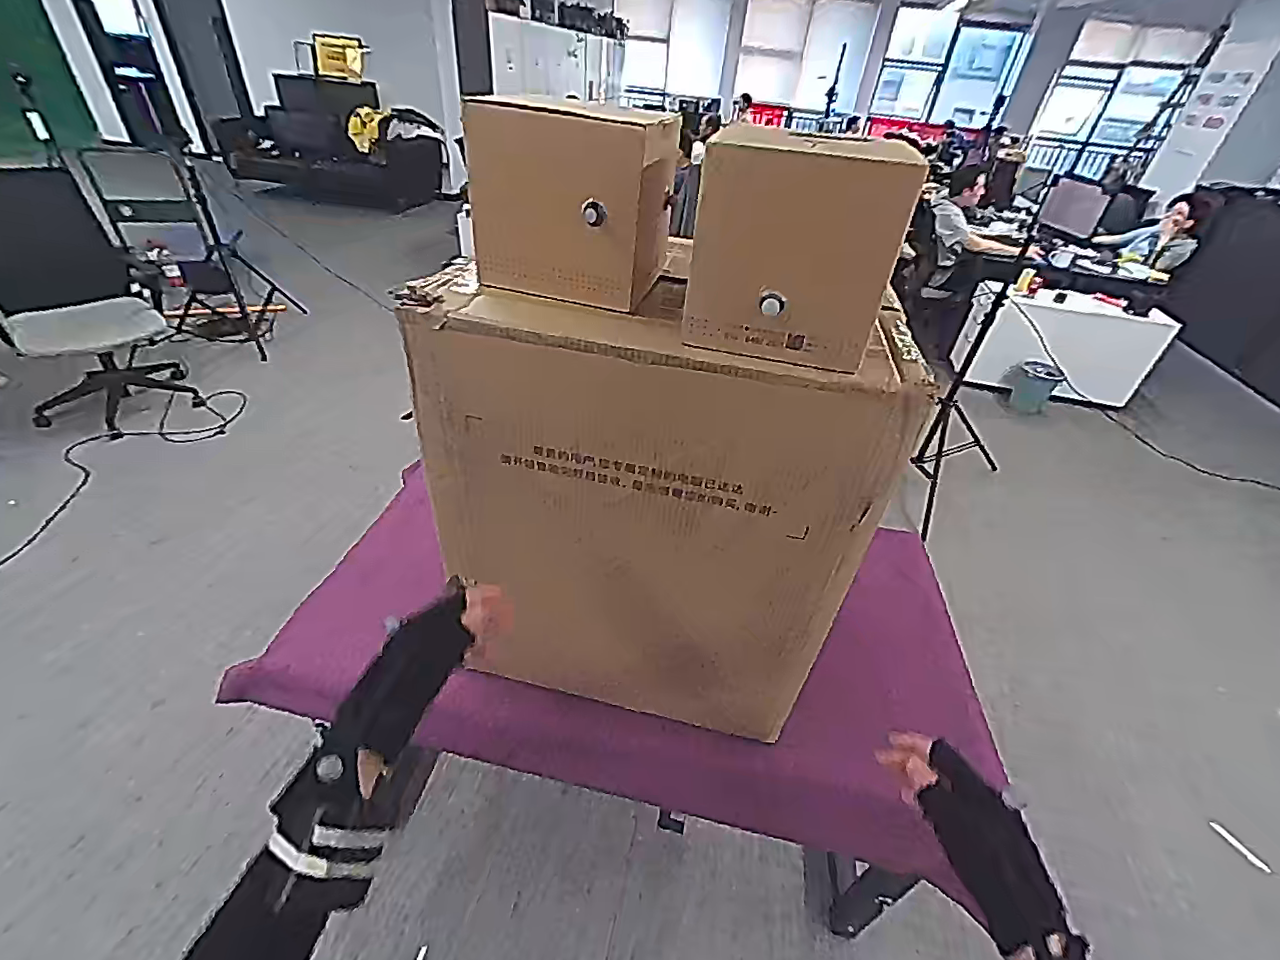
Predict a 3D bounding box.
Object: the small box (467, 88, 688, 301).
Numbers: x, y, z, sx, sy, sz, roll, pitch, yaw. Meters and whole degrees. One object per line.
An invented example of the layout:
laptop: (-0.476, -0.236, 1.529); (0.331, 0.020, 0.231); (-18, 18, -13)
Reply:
small box: (-0.059, -0.304, 0.577); (0.179, 0.176, 0.168); (13, 37, 8)

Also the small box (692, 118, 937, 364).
small box: (0.150, -0.230, 0.511); (0.168, 0.176, 0.179); (12, 38, 10)
